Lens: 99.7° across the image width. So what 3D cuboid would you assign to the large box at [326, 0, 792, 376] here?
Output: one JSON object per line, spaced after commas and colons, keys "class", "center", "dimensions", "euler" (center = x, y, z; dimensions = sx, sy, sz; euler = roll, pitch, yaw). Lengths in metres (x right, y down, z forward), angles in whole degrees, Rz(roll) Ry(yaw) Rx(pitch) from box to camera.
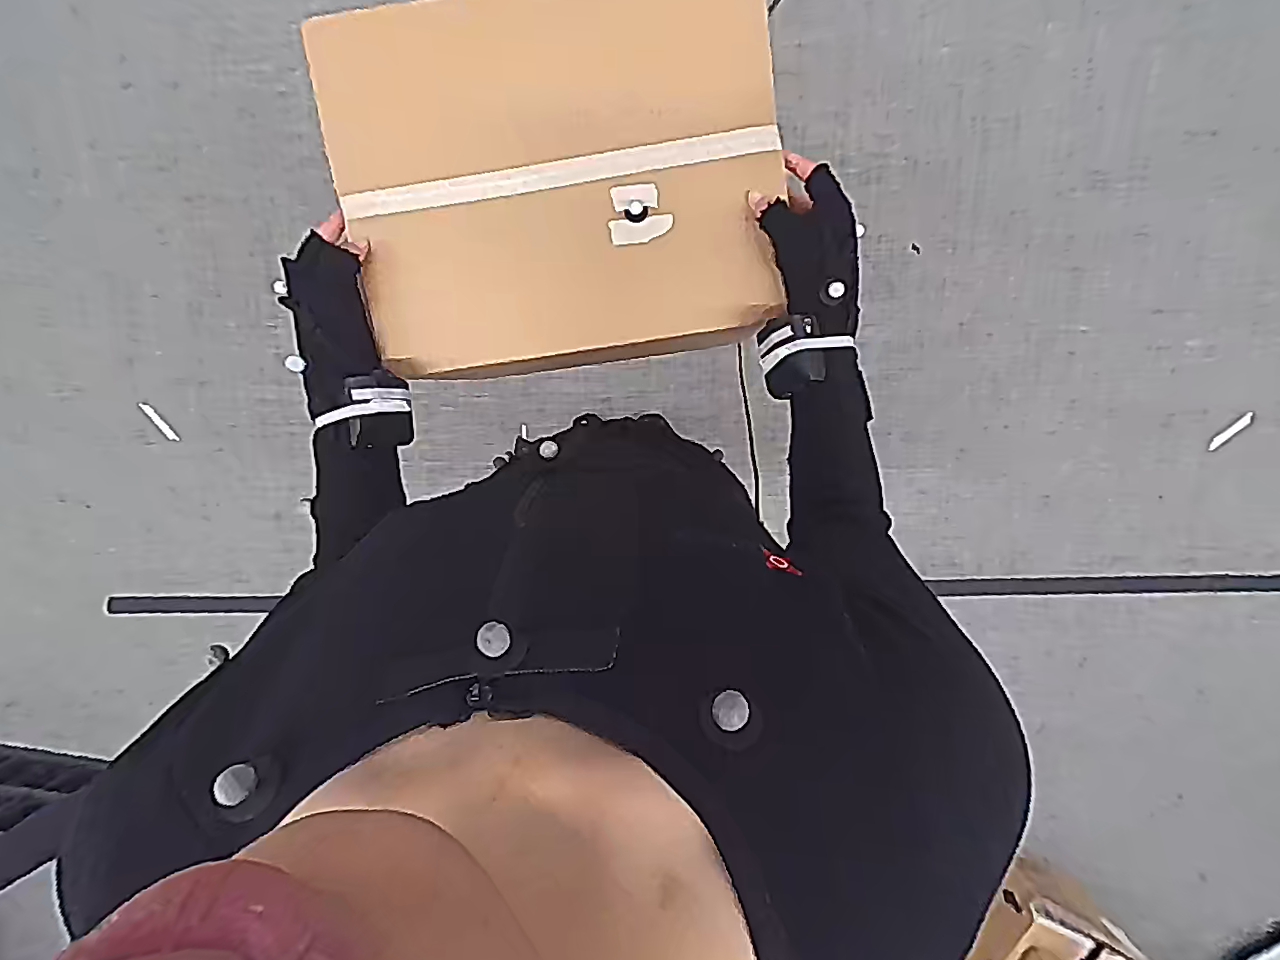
{"class": "large box", "center": [-0.070, -0.313, 0.653], "dimensions": [0.408, 0.320, 0.320], "euler": [-8, 100, 1]}
